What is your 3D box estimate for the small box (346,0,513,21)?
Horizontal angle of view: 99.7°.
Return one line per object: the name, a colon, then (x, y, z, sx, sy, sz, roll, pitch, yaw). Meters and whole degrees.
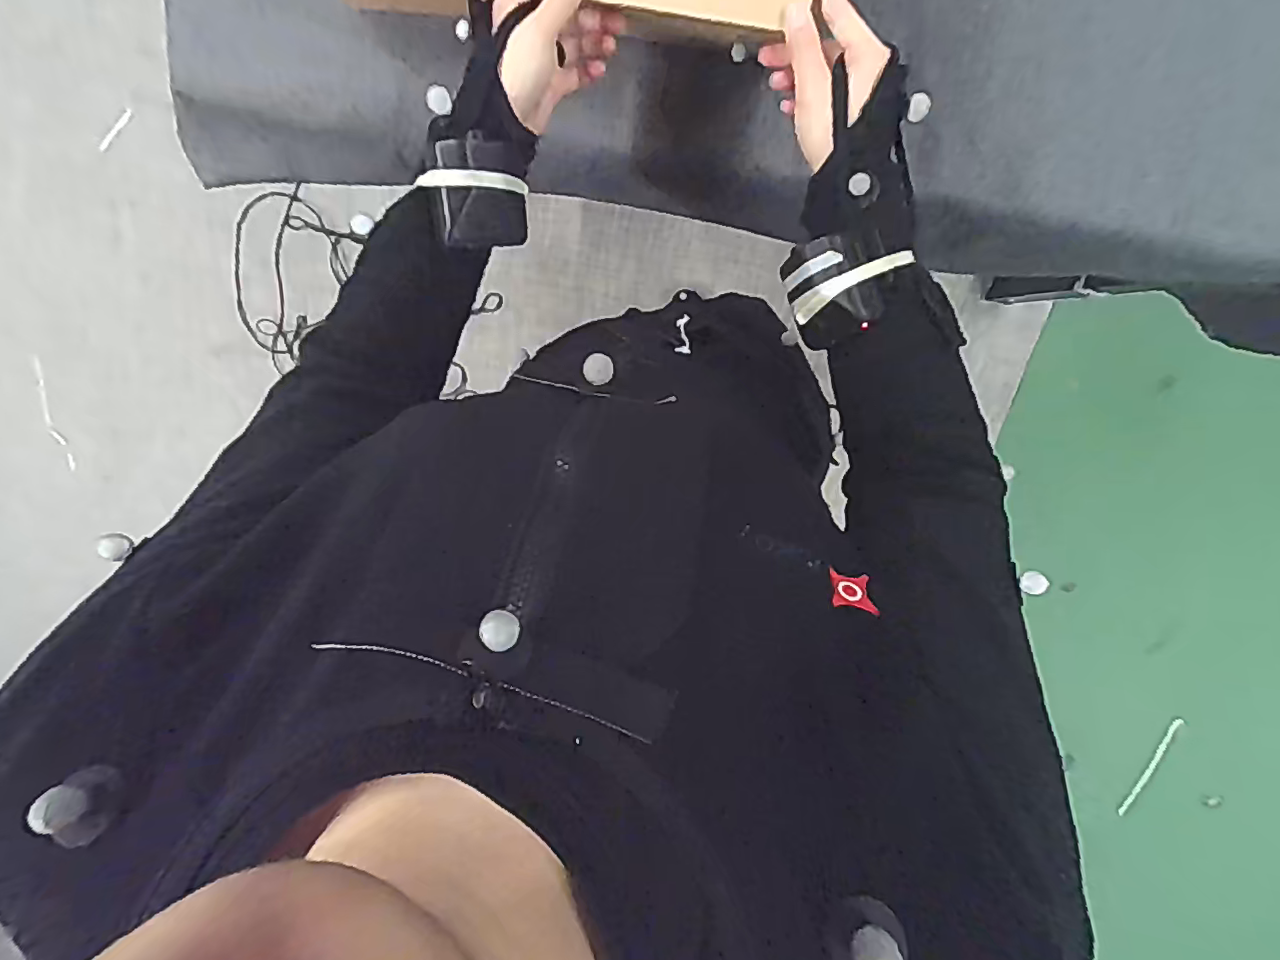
small box: (-0.191, -0.491, 0.410, 0.179, 0.176, 0.168, 8, 105, 7)
